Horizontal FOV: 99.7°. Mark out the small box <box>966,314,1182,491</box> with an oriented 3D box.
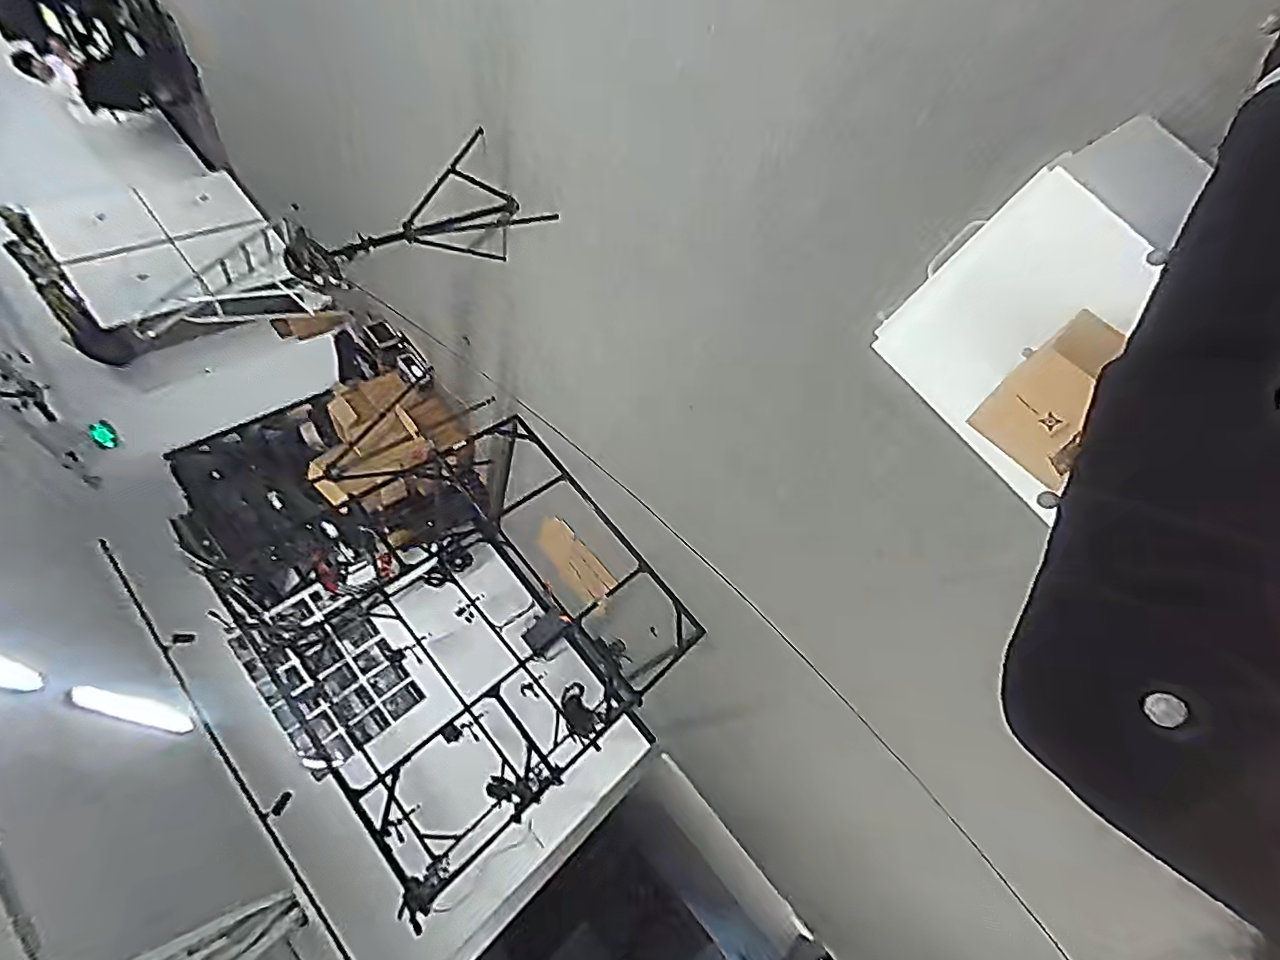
[{"bbox_3d":[0.654,-0.122,0.820,0.179,0.176,0.168,46,148,16],"label":"small box"}]
